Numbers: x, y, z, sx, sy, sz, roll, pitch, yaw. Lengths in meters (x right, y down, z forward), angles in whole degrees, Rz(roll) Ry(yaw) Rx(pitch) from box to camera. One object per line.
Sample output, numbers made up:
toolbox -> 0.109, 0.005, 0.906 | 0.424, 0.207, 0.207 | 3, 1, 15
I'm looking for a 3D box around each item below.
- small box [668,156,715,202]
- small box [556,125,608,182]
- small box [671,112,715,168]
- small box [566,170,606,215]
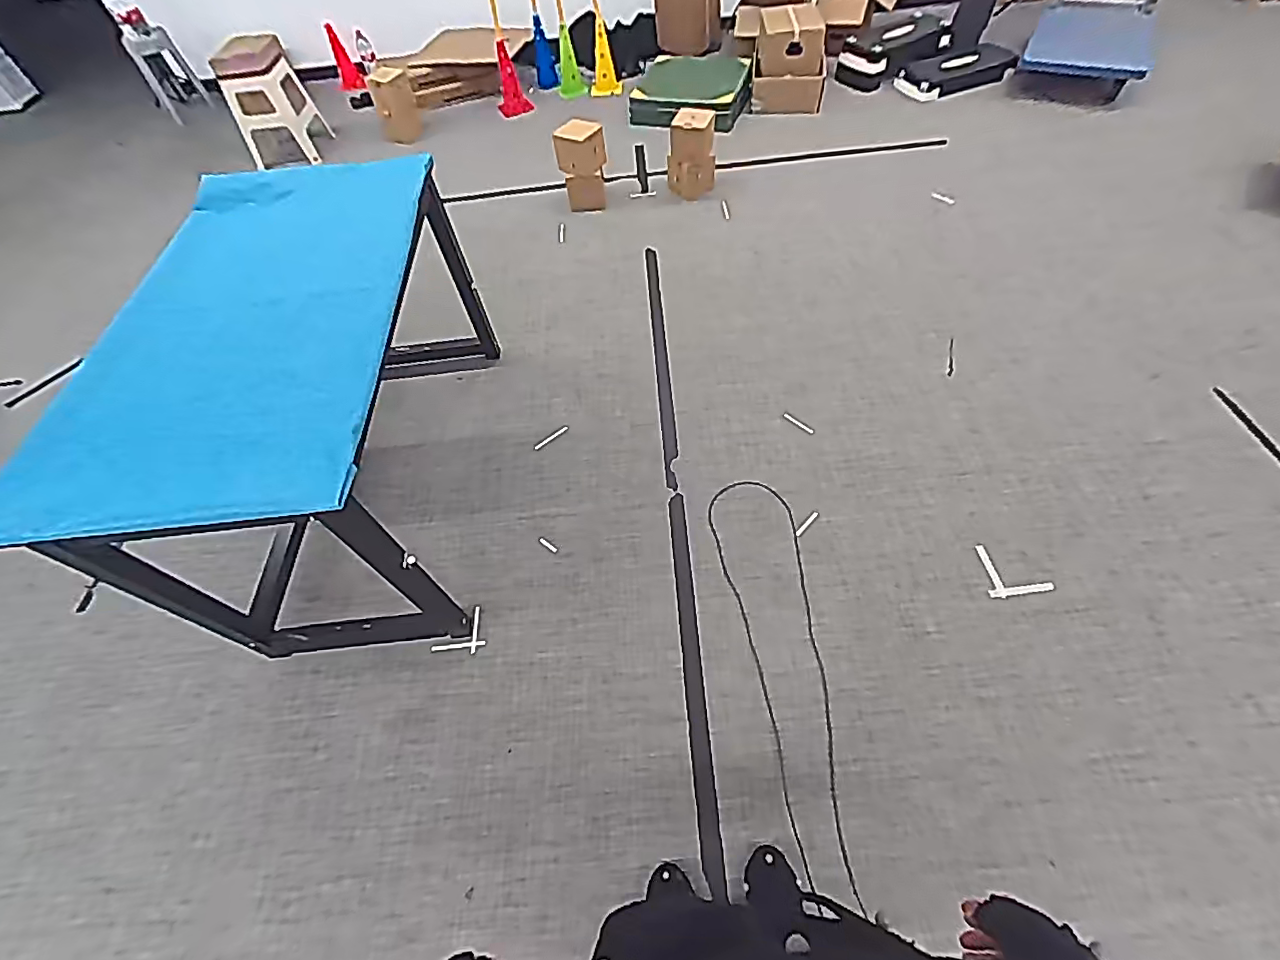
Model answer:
small box -> 0.258, -1.524, 2.701 | 0.179, 0.176, 0.168 | -31, 60, -15
small box -> -0.277, -1.559, 2.570 | 0.179, 0.176, 0.168 | 26, 62, 22
small box -> 0.252, -1.607, 2.559 | 0.168, 0.176, 0.179 | 15, 58, 13
small box -> -0.263, -1.454, 2.701 | 0.179, 0.176, 0.168 | -4, 55, 4
